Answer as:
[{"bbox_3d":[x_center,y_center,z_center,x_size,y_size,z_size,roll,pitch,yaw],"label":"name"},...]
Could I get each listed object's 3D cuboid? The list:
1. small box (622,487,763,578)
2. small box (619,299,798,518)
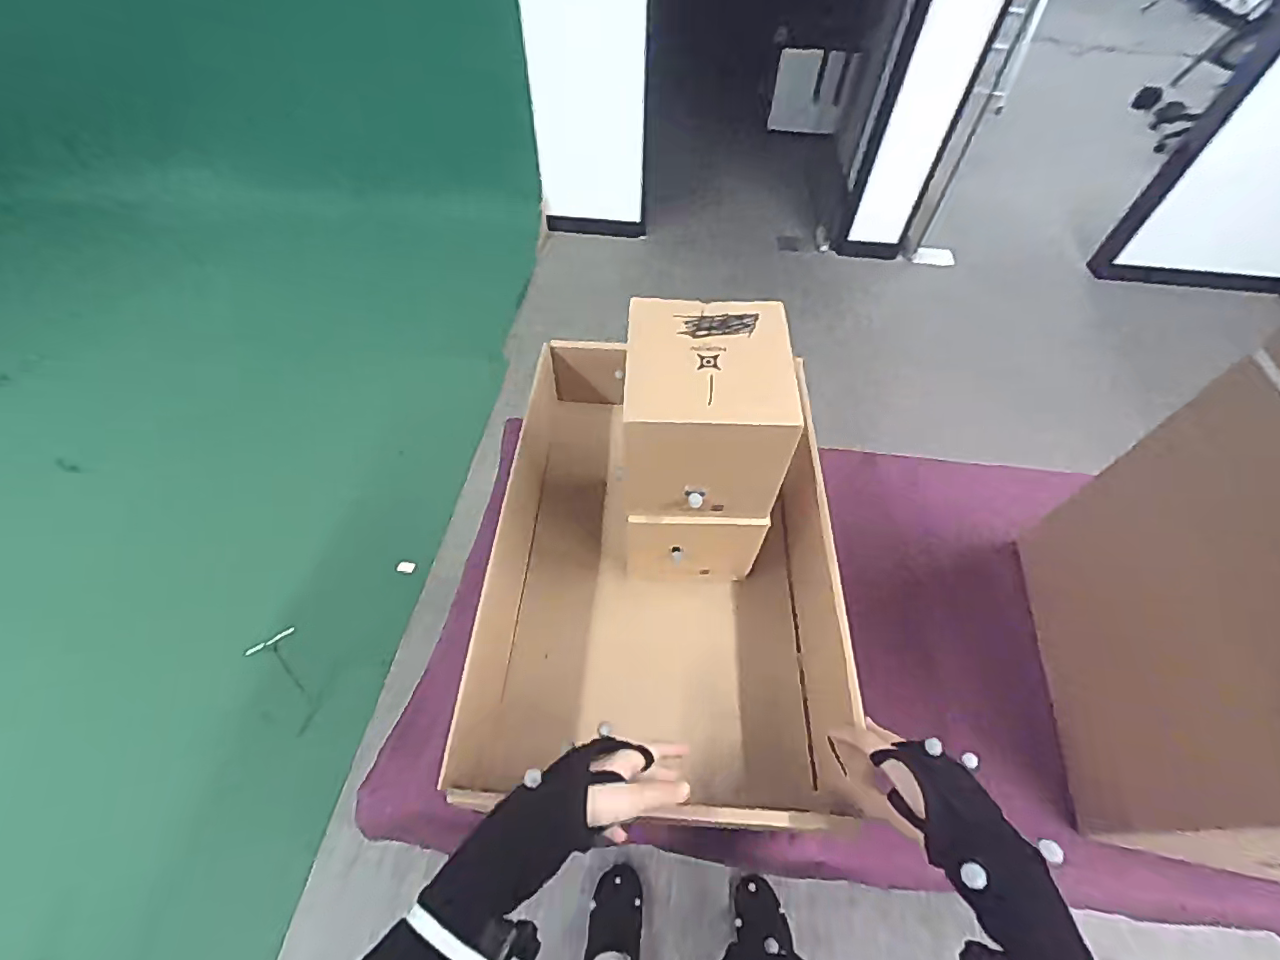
[{"bbox_3d":[0.064,0.024,0.732,0.168,0.176,0.179,0,56,0],"label":"small box"},{"bbox_3d":[0.064,-0.075,0.600,0.168,0.176,0.179,1,57,1],"label":"small box"}]
